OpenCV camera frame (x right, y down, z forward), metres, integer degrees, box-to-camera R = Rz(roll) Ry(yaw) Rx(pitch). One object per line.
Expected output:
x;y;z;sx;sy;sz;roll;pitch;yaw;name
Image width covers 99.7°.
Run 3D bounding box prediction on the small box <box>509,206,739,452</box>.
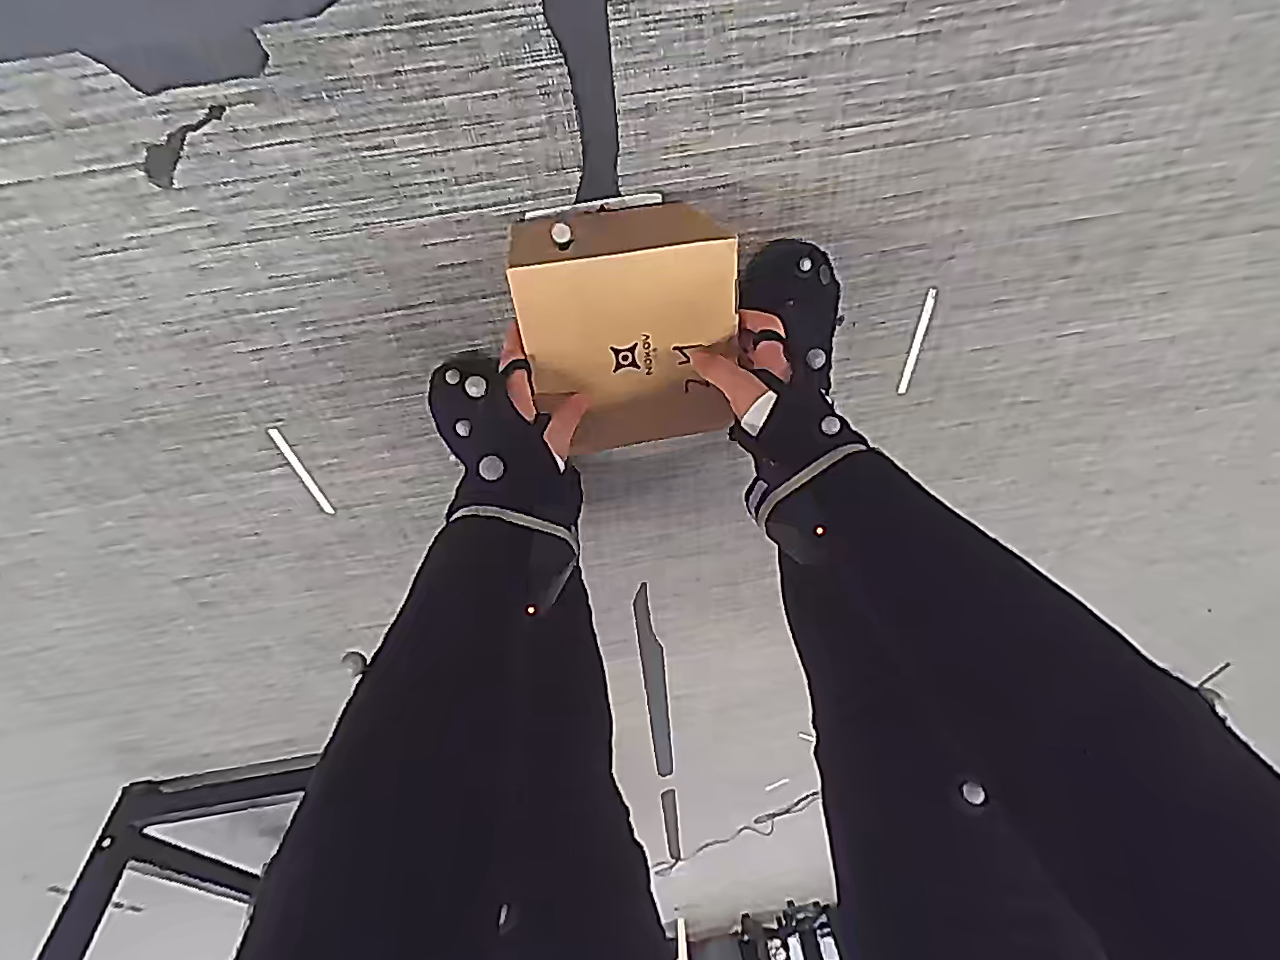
-0.019;-0.149;0.509;0.179;0.176;0.168;-10;127;-6;small box
